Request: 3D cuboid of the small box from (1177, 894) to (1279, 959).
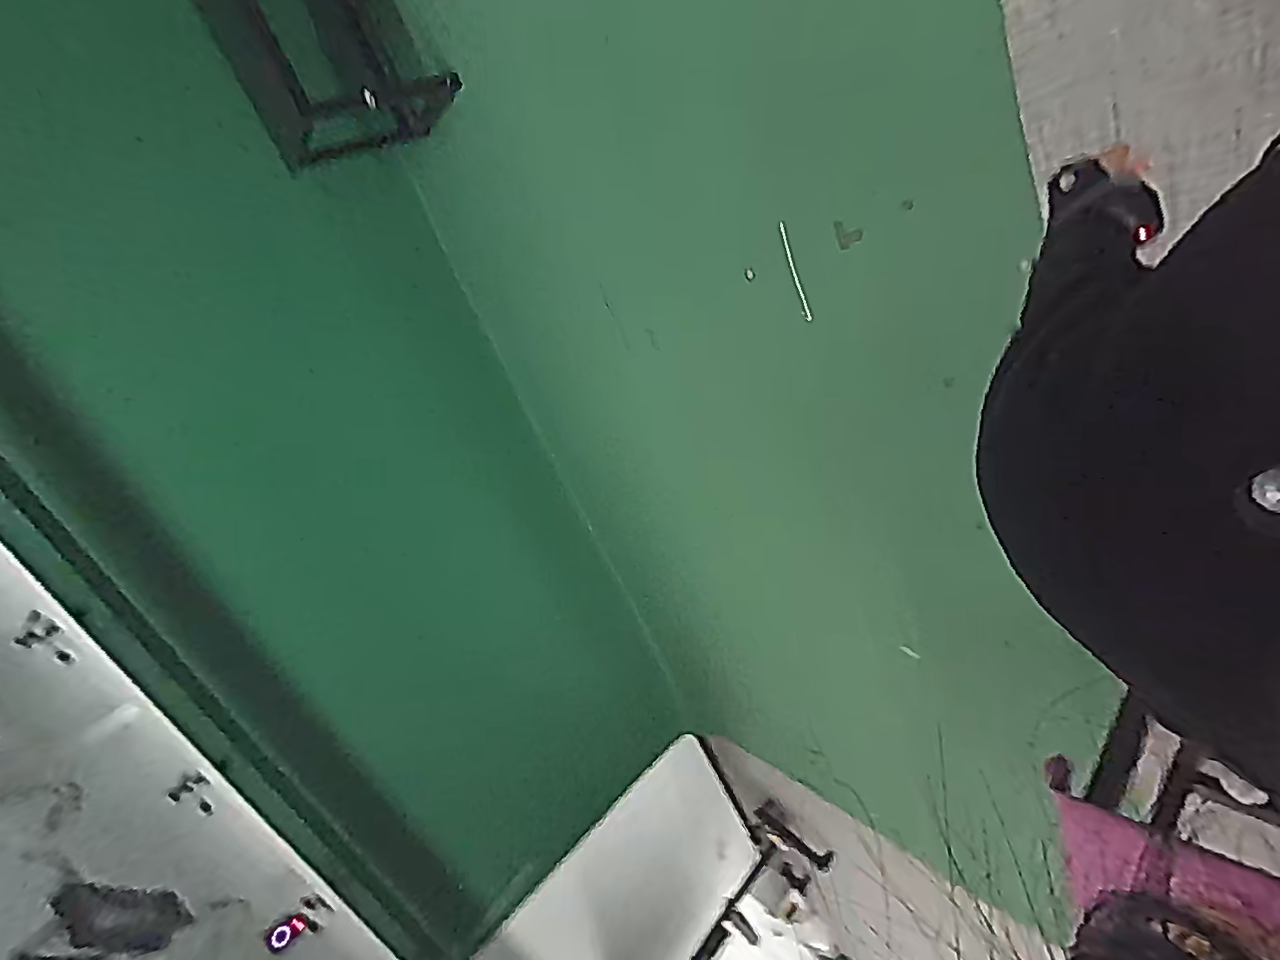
[{"bbox_3d":[1.002,0.840,0.883,0.168,0.176,0.179,7,128,54],"label":"small box"}]
